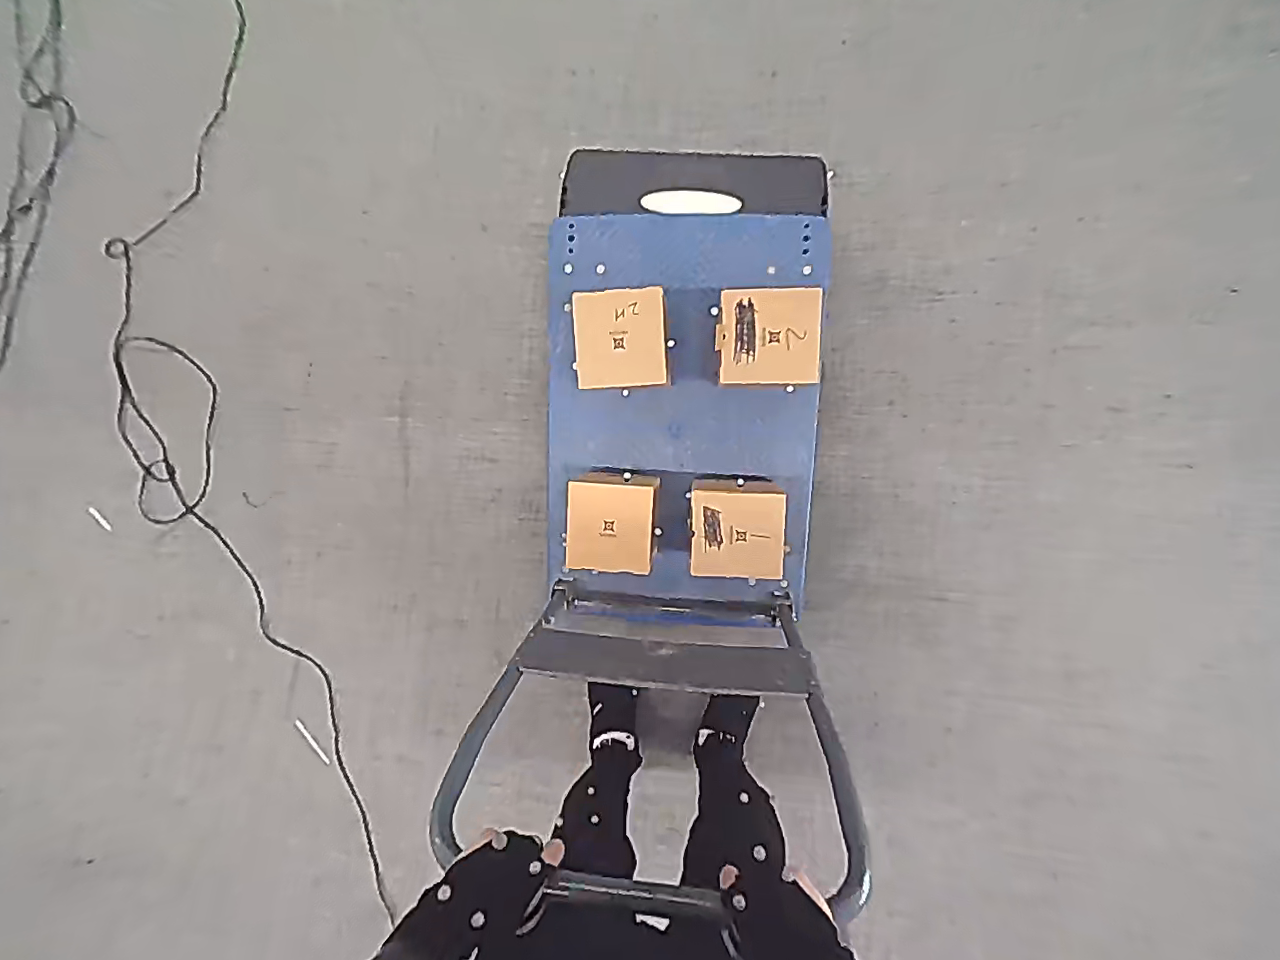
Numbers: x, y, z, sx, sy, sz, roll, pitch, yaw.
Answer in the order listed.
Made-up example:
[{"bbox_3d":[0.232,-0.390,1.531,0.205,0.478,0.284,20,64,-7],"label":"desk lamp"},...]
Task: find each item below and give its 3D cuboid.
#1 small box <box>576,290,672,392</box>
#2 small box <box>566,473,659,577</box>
[{"bbox_3d":[-0.025,-0.264,1.060,0.168,0.176,0.179,-1,98,6],"label":"small box"},{"bbox_3d":[-0.051,0.083,1.114,0.168,0.176,0.179,4,100,5],"label":"small box"}]
